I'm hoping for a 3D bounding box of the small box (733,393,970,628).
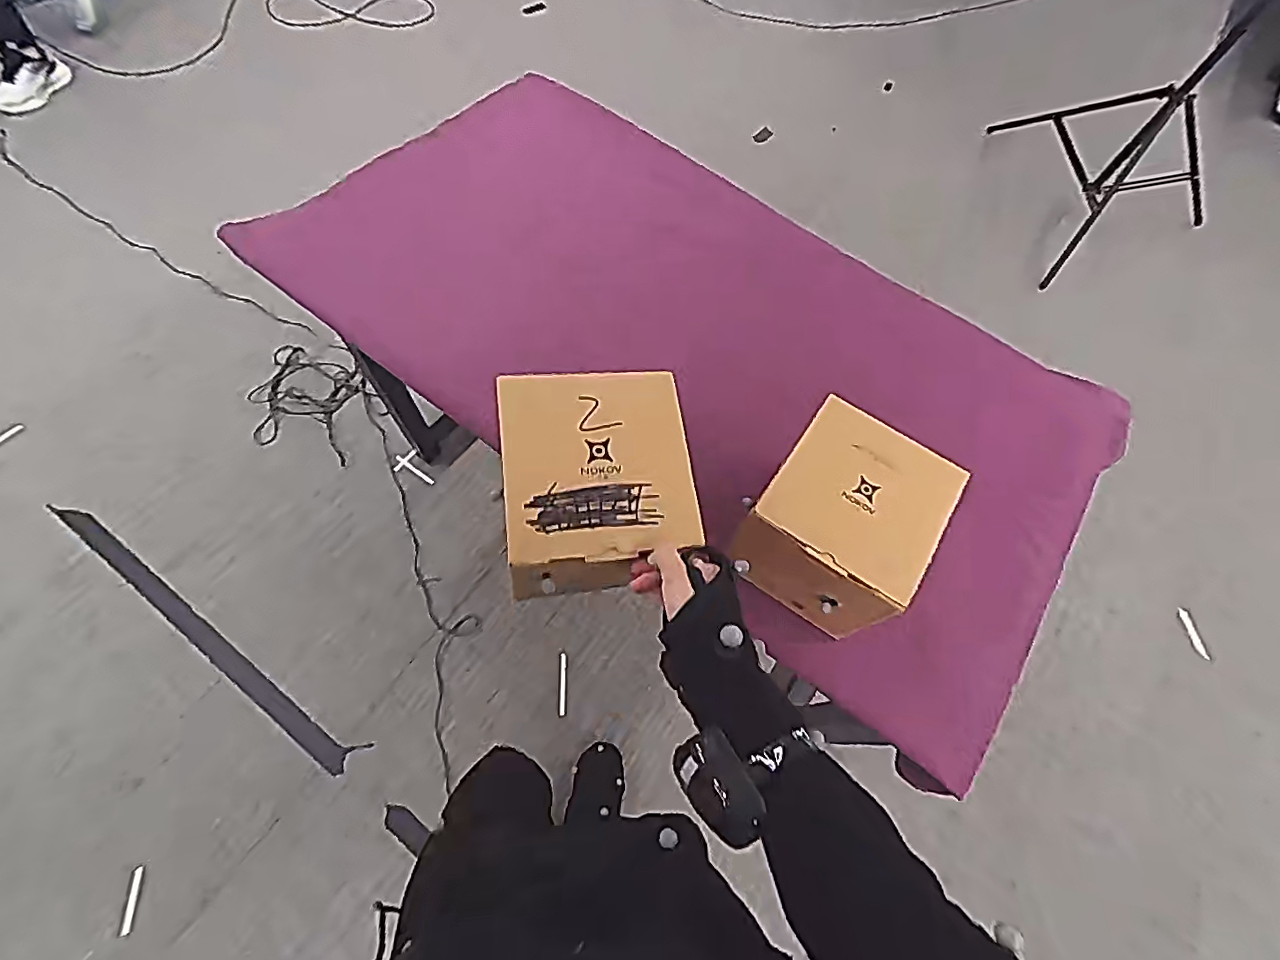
[{"bbox_3d":[0.221,0.044,0.611,0.168,0.176,0.179,33,67,10],"label":"small box"}]
